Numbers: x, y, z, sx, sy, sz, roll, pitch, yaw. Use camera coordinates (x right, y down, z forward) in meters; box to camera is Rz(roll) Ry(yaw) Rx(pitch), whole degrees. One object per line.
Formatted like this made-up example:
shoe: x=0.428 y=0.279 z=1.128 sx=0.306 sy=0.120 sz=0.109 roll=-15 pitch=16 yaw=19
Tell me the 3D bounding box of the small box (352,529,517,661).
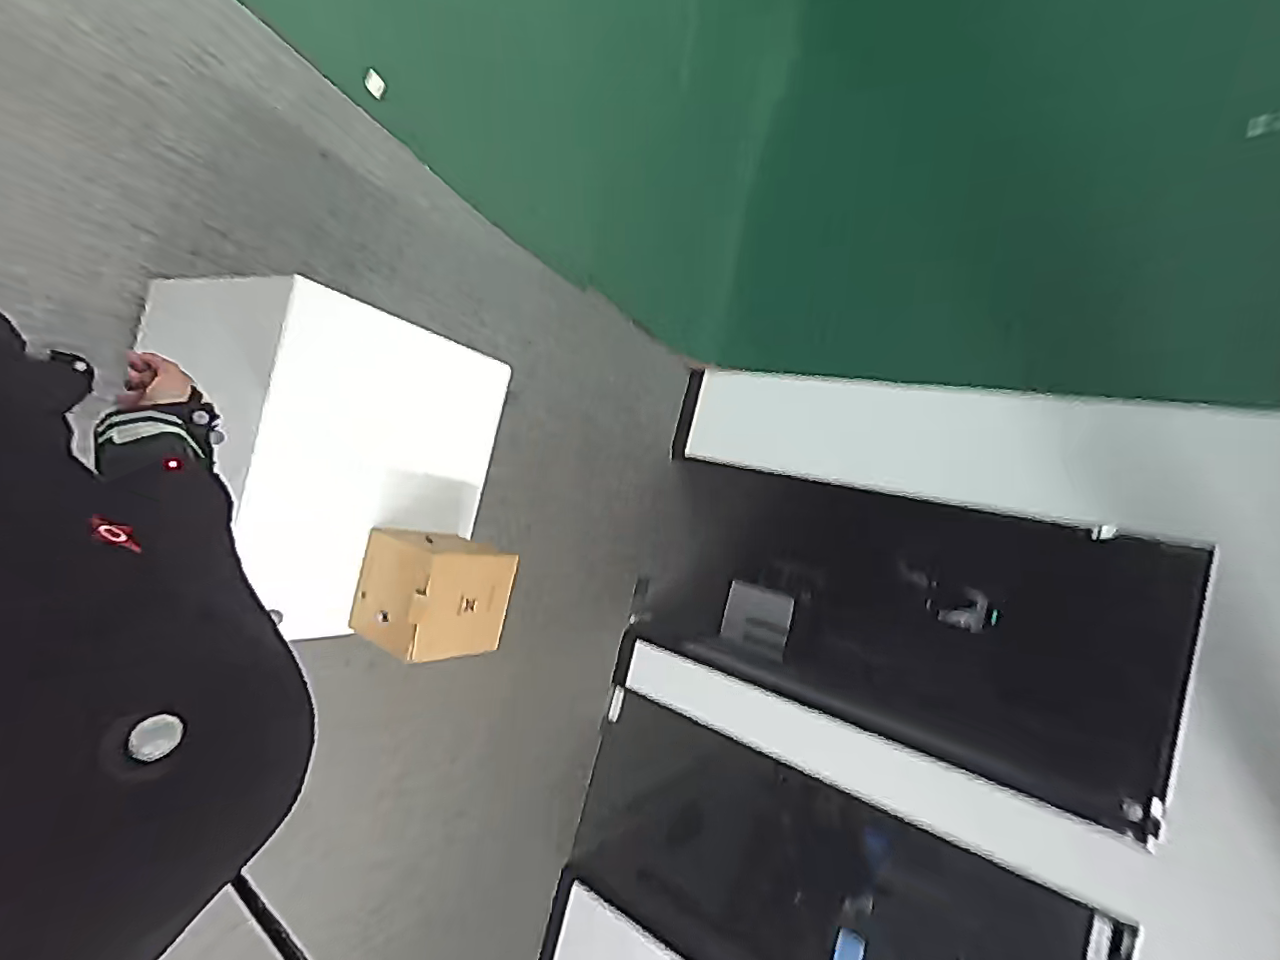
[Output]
small box: x=-0.339 y=0.182 z=0.893 sx=0.179 sy=0.176 sz=0.168 roll=16 pitch=88 yaw=-59
